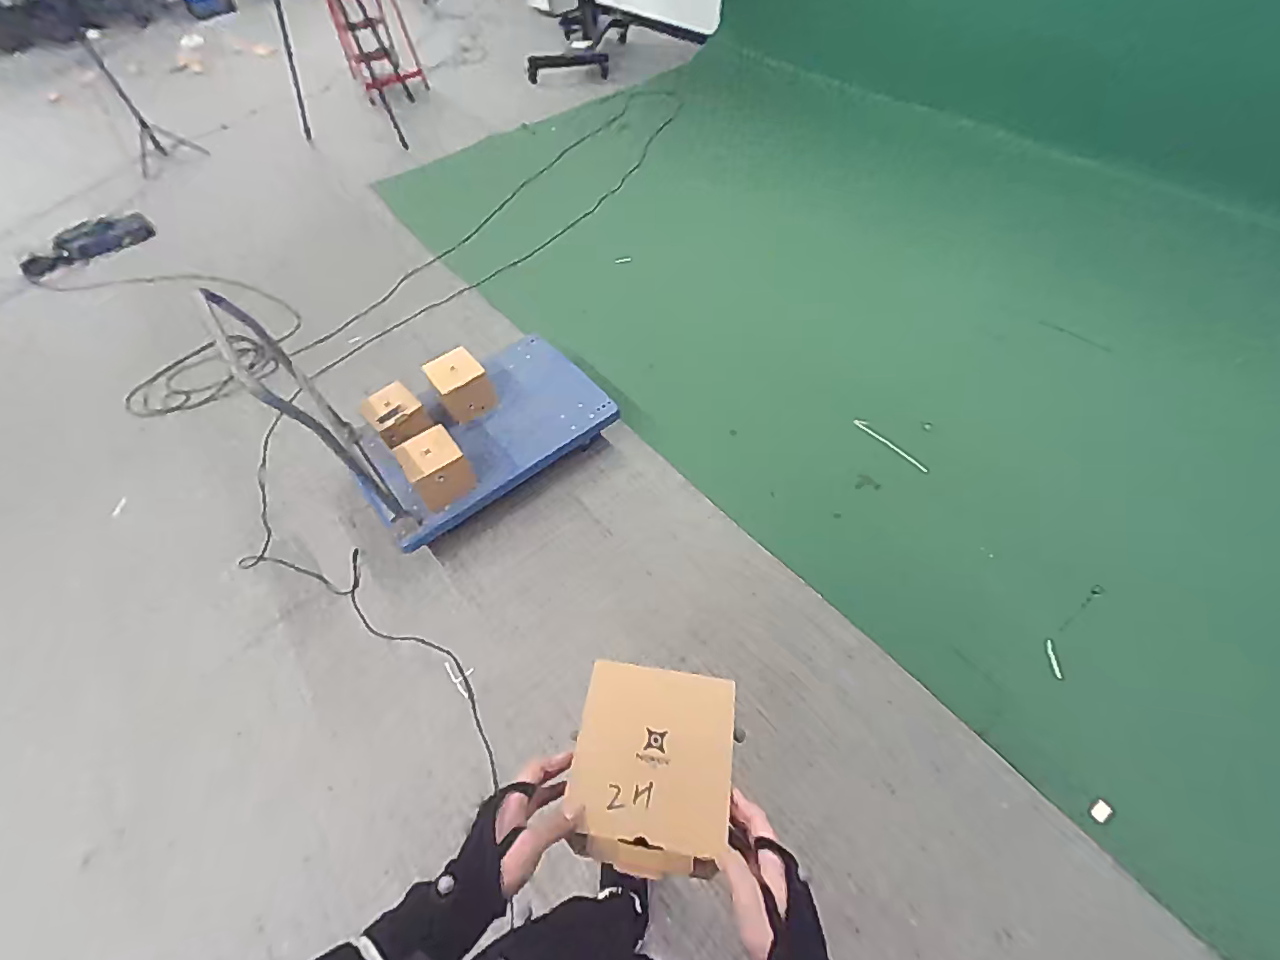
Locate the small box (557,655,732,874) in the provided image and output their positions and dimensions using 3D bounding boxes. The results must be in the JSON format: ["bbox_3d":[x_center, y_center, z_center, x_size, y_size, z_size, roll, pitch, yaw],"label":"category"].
[{"bbox_3d":[0.011,0.333,0.633,0.168,0.176,0.179,6,49,7],"label":"small box"}]

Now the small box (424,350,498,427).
[{"bbox_3d":[-0.636,-0.324,1.928,0.168,0.176,0.179,-35,61,-19],"label":"small box"}]

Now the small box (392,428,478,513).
[{"bbox_3d":[-0.644,-0.026,1.715,0.179,0.176,0.168,-32,59,-18],"label":"small box"}]
